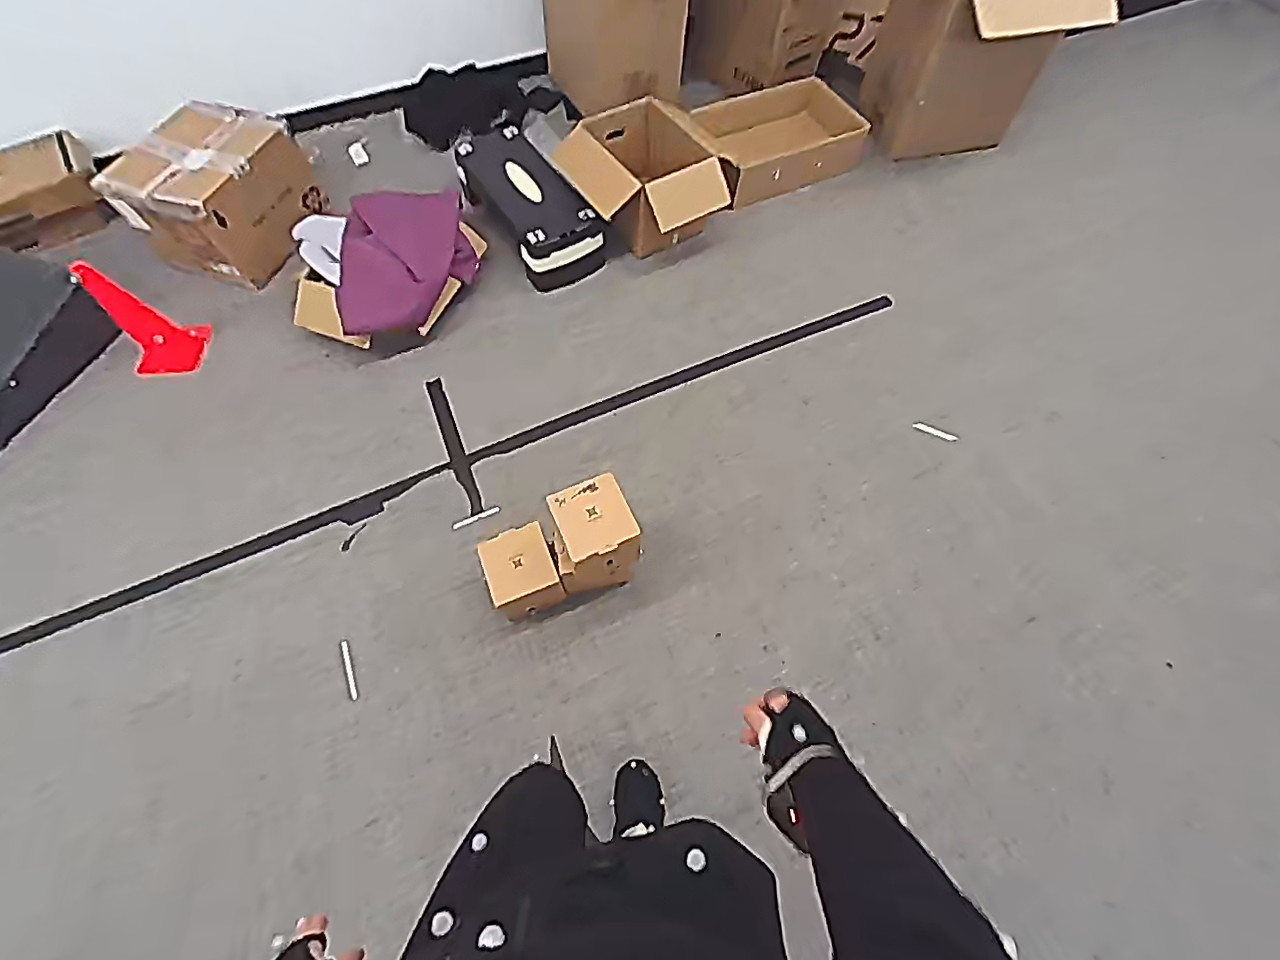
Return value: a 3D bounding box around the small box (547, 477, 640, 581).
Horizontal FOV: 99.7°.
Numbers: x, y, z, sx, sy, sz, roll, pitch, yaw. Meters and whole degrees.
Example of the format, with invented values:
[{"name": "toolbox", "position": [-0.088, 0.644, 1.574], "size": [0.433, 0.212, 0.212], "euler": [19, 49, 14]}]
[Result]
[{"name": "small box", "position": [-0.107, 0.127, 1.289], "size": [0.168, 0.176, 0.179], "euler": [-22, 66, -12]}]
